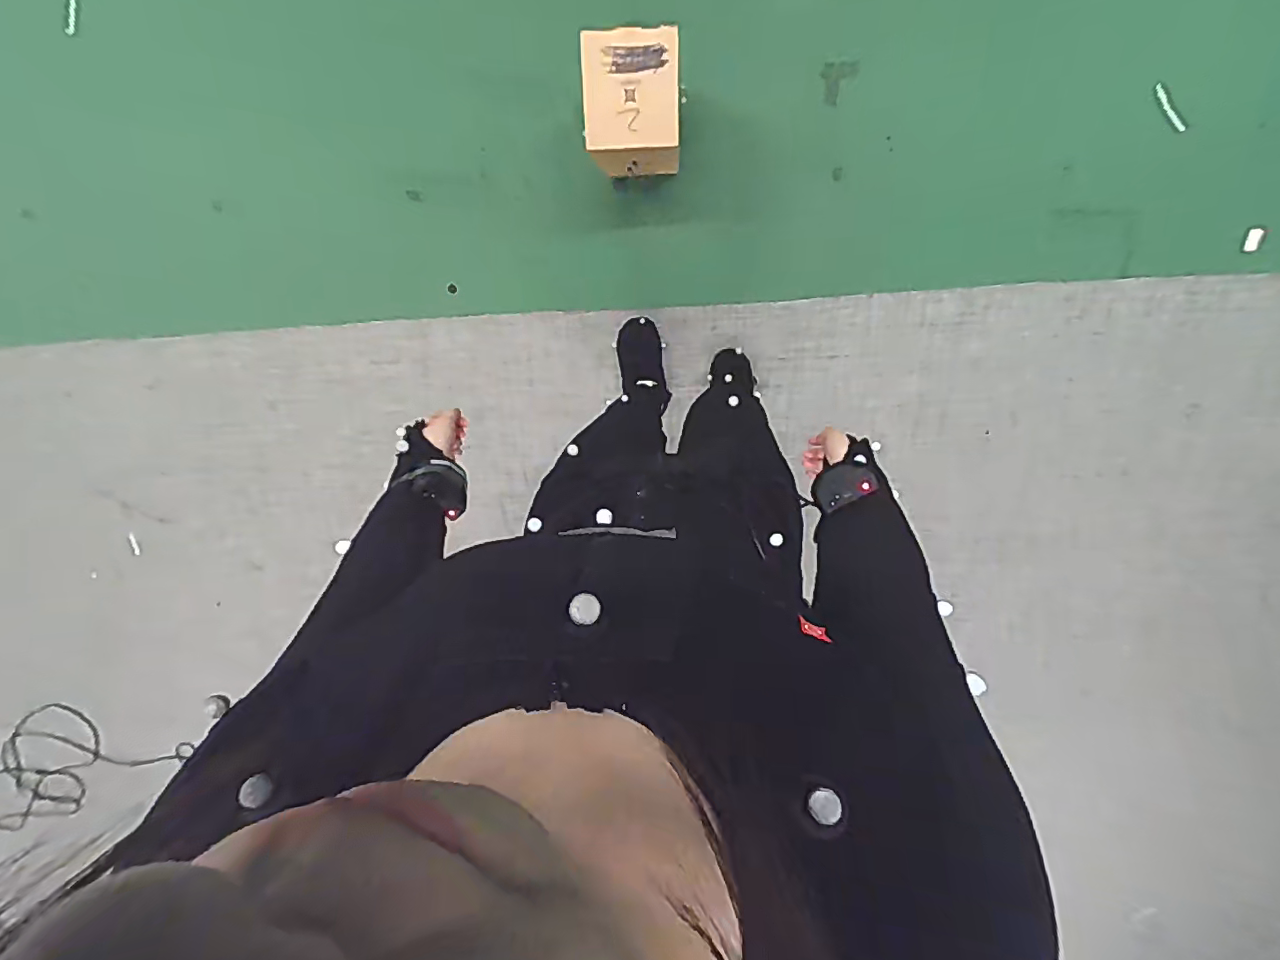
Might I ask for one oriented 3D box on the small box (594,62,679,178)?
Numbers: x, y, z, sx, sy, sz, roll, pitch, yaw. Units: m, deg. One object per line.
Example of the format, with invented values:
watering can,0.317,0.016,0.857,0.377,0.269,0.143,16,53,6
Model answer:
small box,-0.001,-0.748,1.143,0.168,0.176,0.179,-1,110,4
